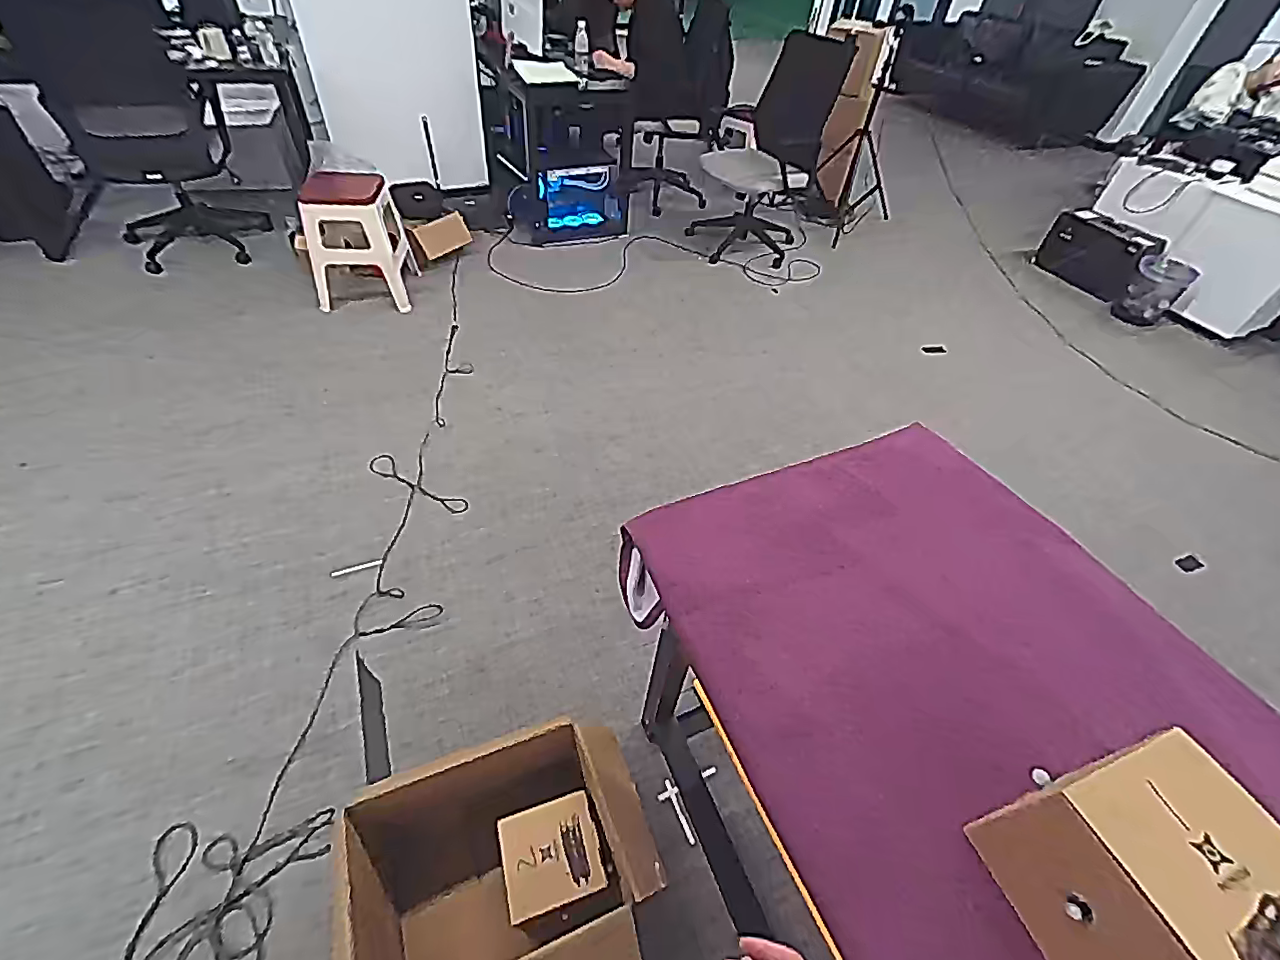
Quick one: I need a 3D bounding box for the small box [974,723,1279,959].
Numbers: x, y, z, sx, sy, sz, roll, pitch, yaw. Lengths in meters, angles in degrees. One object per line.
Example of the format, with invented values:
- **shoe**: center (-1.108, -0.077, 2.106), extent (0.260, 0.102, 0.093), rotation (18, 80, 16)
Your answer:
- **small box**: center (0.463, 0.360, 0.493), extent (0.168, 0.176, 0.179), rotation (-13, 49, -17)
